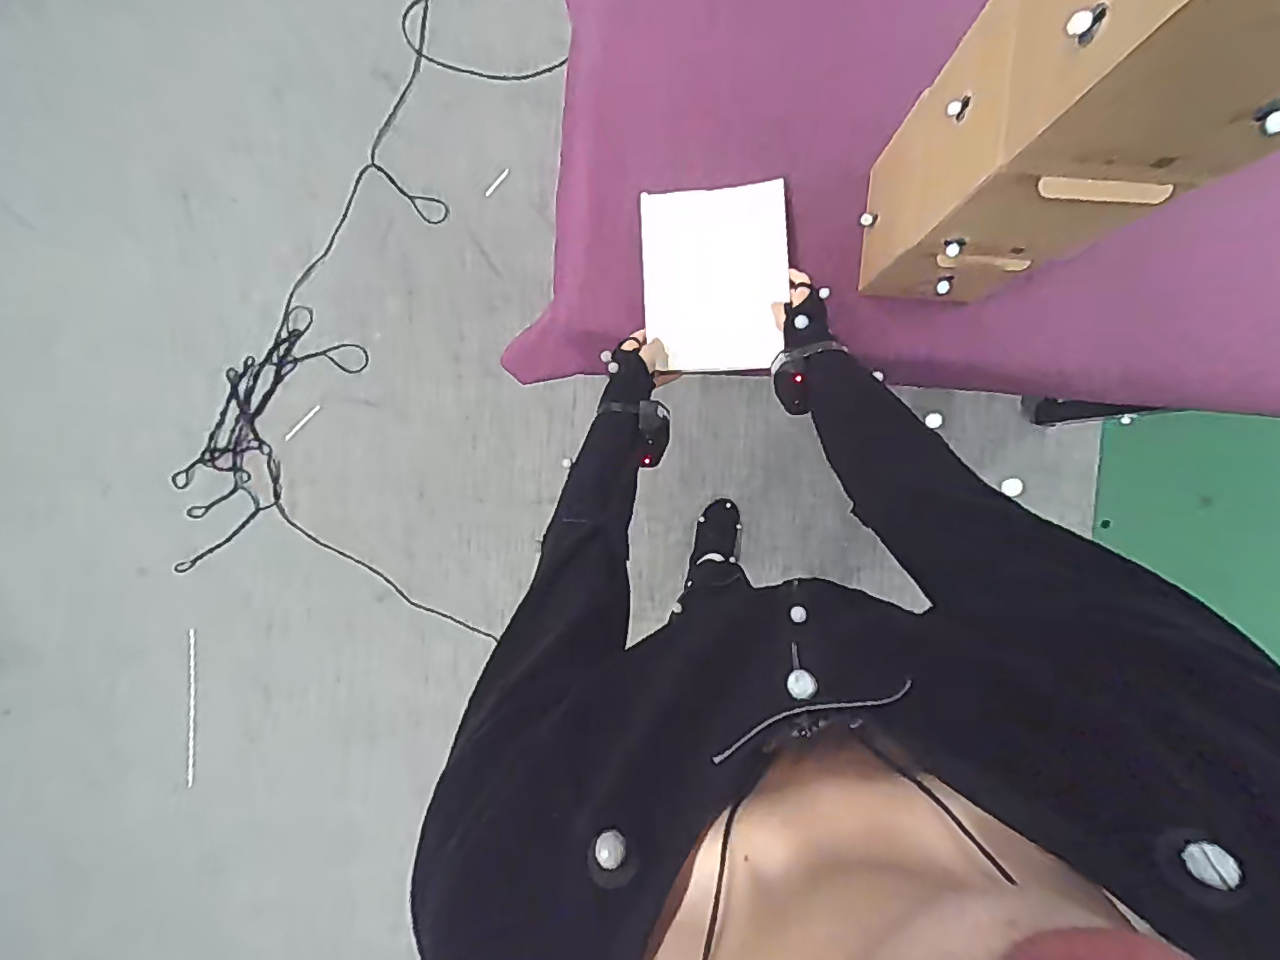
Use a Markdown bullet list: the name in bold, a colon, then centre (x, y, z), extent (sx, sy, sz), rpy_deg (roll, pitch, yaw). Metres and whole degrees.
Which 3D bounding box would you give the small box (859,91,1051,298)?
- **small box**: centre (0.389, -0.340, 0.677), extent (0.168, 0.176, 0.179), rpy_deg (5, 92, 2)

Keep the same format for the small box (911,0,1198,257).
- **small box**: centre (0.379, -0.331, 0.512), extent (0.168, 0.176, 0.179), rpy_deg (6, 90, 3)

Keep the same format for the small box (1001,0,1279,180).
- **small box**: centre (0.371, -0.325, 0.349), extent (0.168, 0.176, 0.179), rpy_deg (6, 91, 2)
